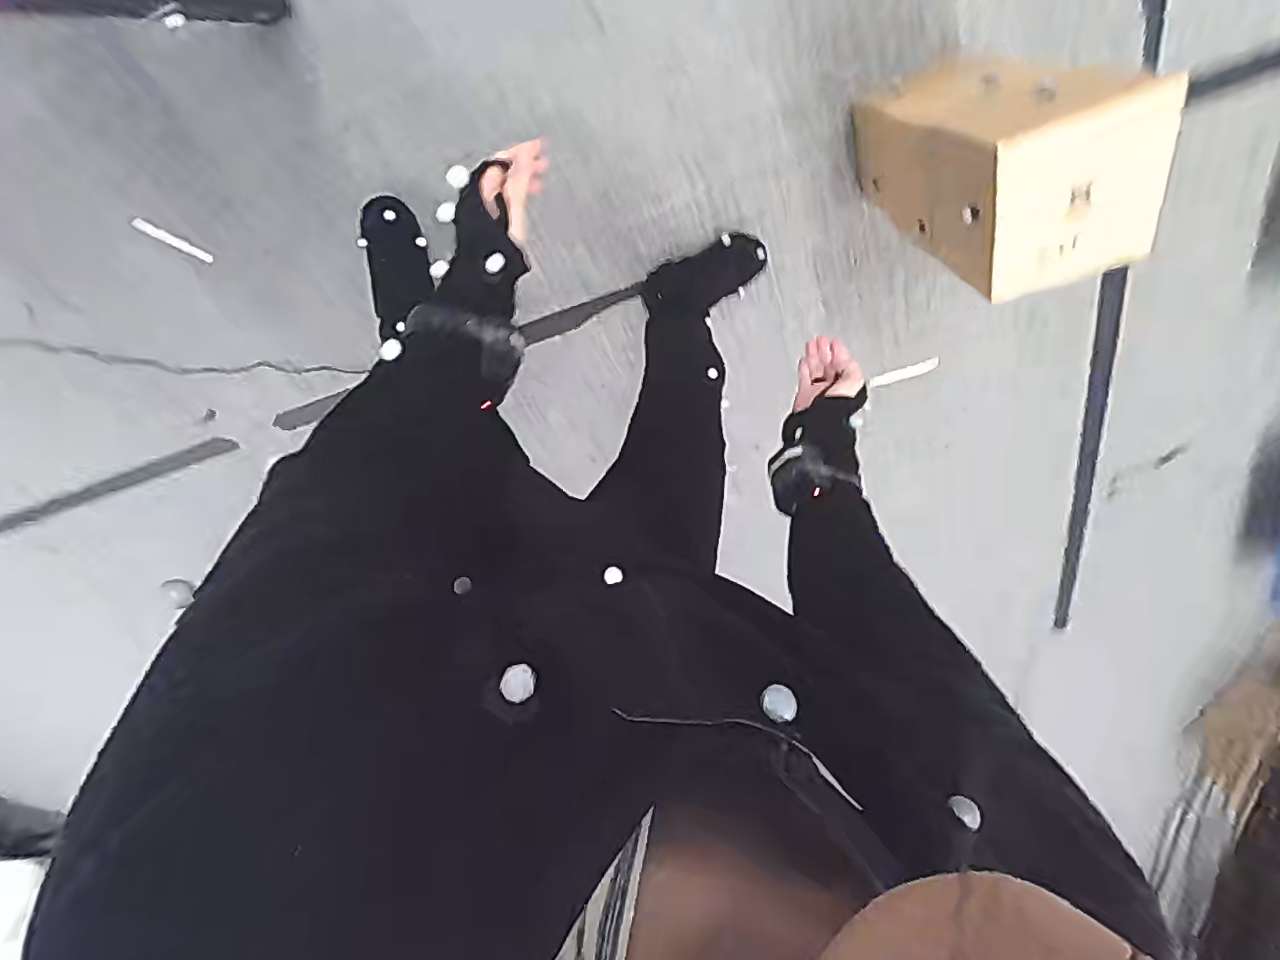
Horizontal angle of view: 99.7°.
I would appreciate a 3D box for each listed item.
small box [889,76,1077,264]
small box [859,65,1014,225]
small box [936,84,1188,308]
[{"bbox_3d":[0.467,-0.441,0.765,0.168,0.176,0.179,-16,129,13],"label":"small box"},{"bbox_3d":[0.473,-0.548,0.887,0.179,0.176,0.168,-17,128,13],"label":"small box"},{"bbox_3d":[0.467,-0.337,0.636,0.168,0.176,0.179,-15,129,13],"label":"small box"}]
